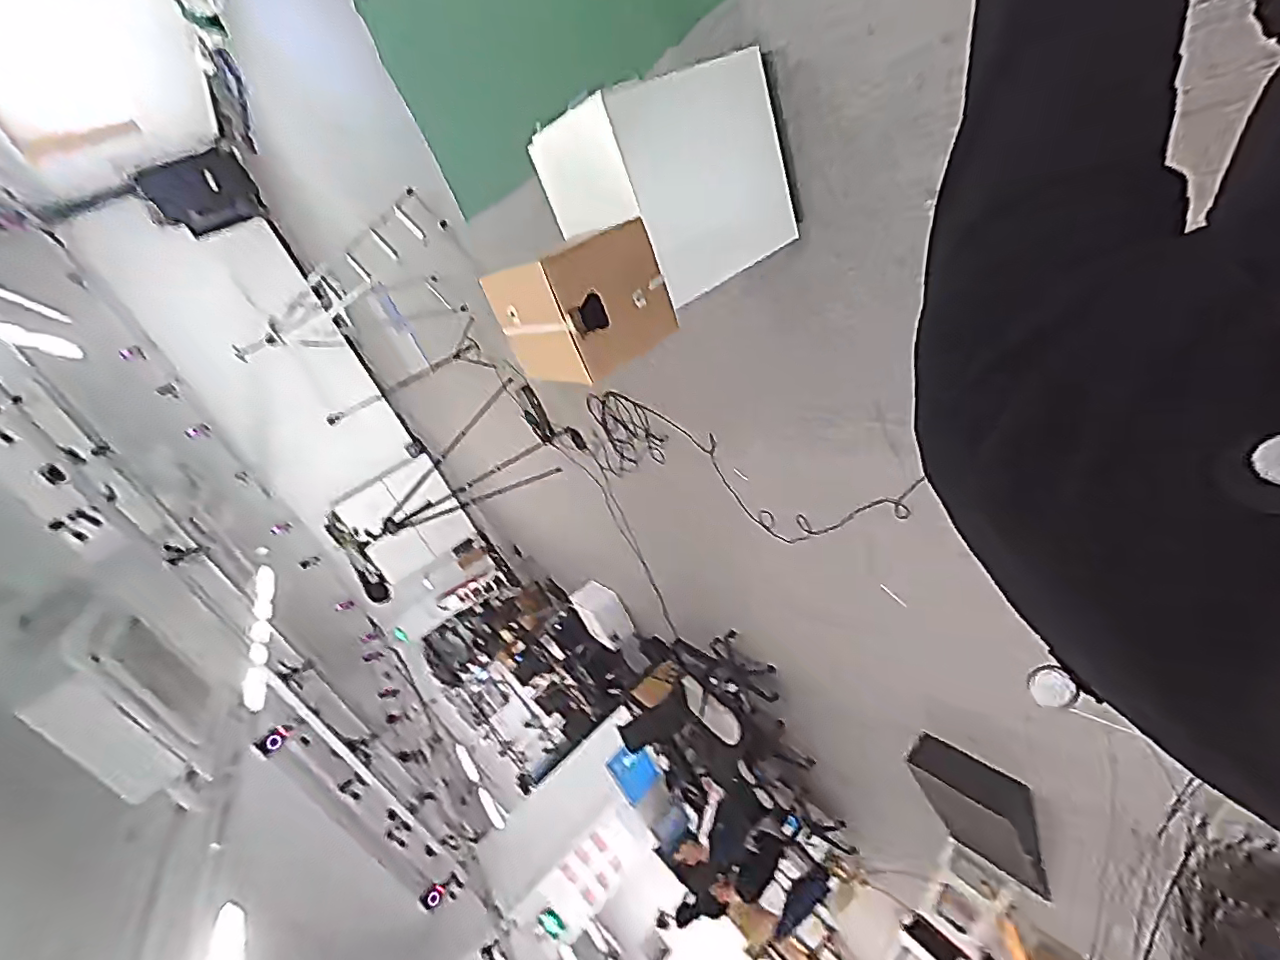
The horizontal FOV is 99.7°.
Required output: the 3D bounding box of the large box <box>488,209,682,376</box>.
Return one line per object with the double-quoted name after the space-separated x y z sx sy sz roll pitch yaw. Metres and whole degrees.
-0.155 -0.501 1.492 0.408 0.320 0.320 20 139 53 "large box"
